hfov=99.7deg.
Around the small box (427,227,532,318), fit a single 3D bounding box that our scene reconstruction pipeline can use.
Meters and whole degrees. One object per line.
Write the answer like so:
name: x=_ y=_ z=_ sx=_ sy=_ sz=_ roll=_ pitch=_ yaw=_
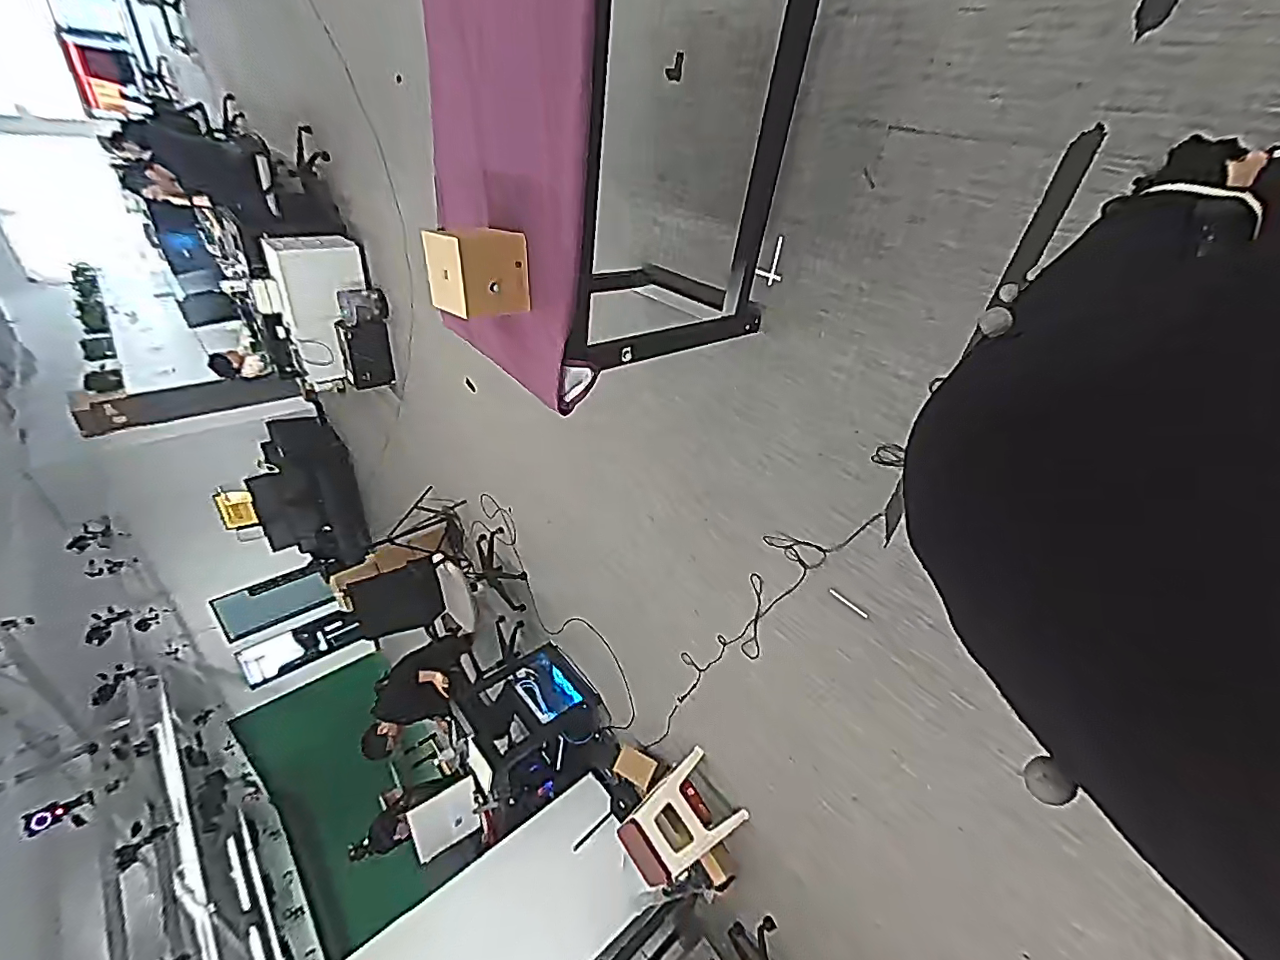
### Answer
small box: x=-0.358 y=-0.480 z=1.236 sx=0.179 sy=0.176 sz=0.168 roll=30 pitch=130 yaw=40
